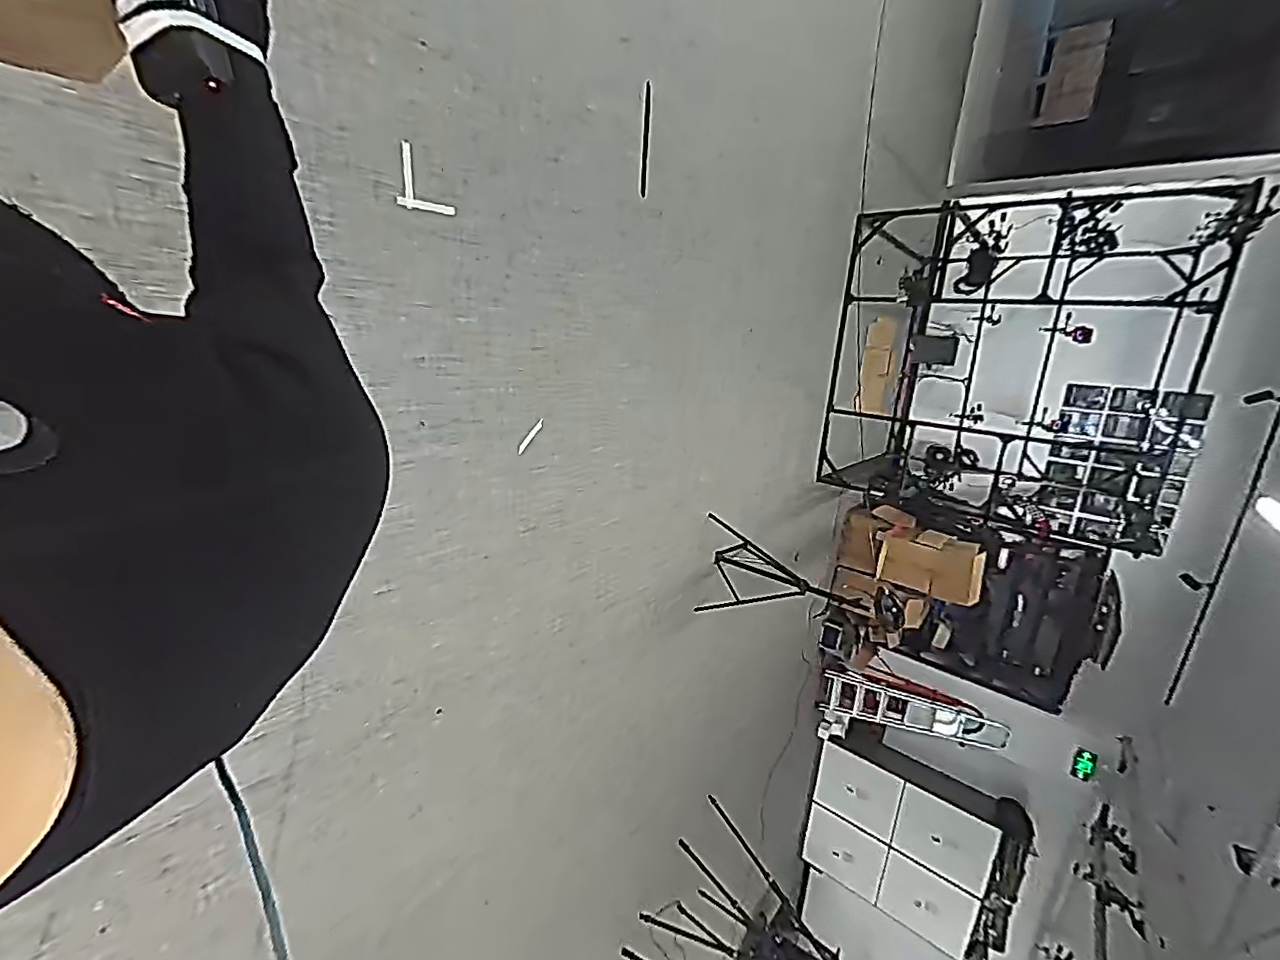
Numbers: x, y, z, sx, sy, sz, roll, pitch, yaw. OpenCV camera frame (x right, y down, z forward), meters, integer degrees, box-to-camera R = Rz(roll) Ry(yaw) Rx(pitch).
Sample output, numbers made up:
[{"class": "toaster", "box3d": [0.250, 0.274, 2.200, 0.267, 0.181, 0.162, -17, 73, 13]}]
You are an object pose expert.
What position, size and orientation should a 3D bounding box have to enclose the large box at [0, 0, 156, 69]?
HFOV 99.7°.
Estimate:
[{"class": "large box", "box3d": [-0.567, -0.484, 0.279, 0.408, 0.320, 0.320, -18, 120, -48]}]
